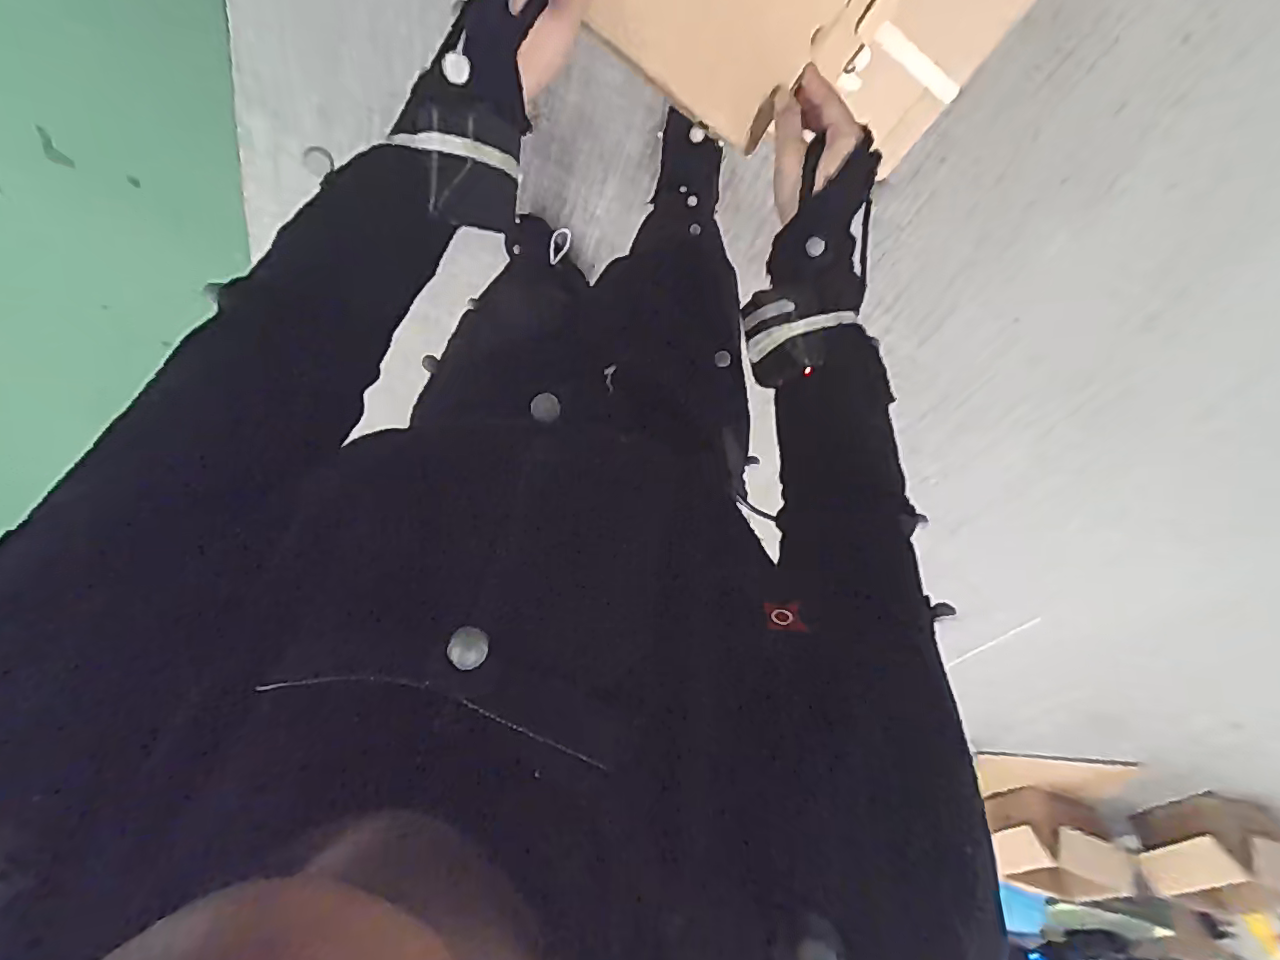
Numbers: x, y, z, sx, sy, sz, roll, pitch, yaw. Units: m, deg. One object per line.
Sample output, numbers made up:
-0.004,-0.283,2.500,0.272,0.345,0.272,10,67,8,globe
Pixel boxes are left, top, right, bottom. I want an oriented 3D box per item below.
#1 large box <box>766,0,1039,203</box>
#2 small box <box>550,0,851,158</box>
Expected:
0.257,-0.680,0.754,0.408,0.320,0.320,29,132,-15,large box
0.046,-0.384,0.413,0.179,0.176,0.168,24,121,-23,small box
